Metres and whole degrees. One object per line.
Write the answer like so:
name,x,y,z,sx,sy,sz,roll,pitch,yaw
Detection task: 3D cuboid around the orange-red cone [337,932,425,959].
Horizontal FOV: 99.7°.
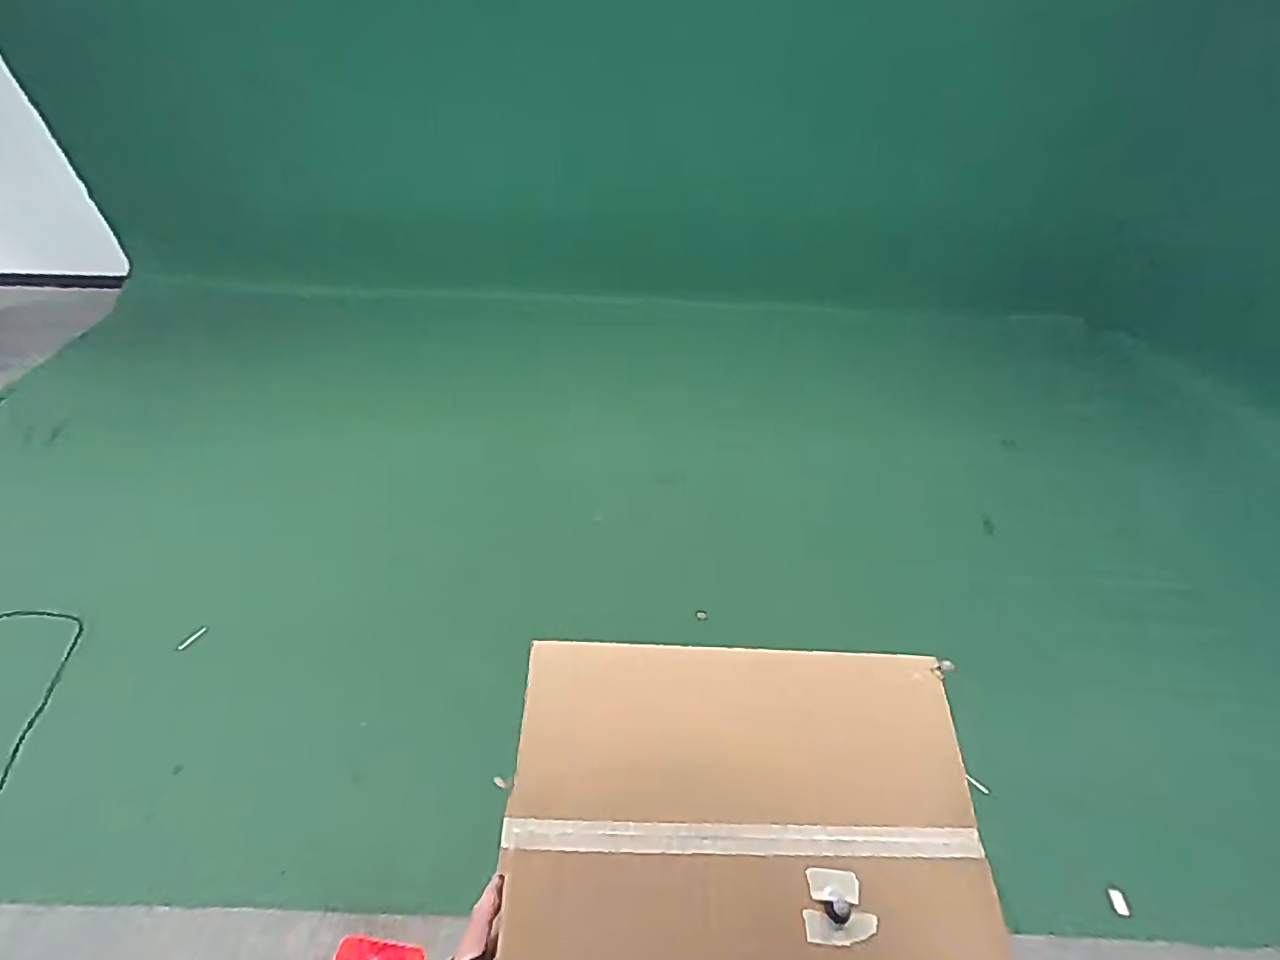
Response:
orange-red cone,-0.590,0.993,1.049,0.199,0.360,0.198,6,44,7

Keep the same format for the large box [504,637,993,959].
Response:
large box,0.080,0.372,0.605,0.408,0.320,0.320,3,61,-3
